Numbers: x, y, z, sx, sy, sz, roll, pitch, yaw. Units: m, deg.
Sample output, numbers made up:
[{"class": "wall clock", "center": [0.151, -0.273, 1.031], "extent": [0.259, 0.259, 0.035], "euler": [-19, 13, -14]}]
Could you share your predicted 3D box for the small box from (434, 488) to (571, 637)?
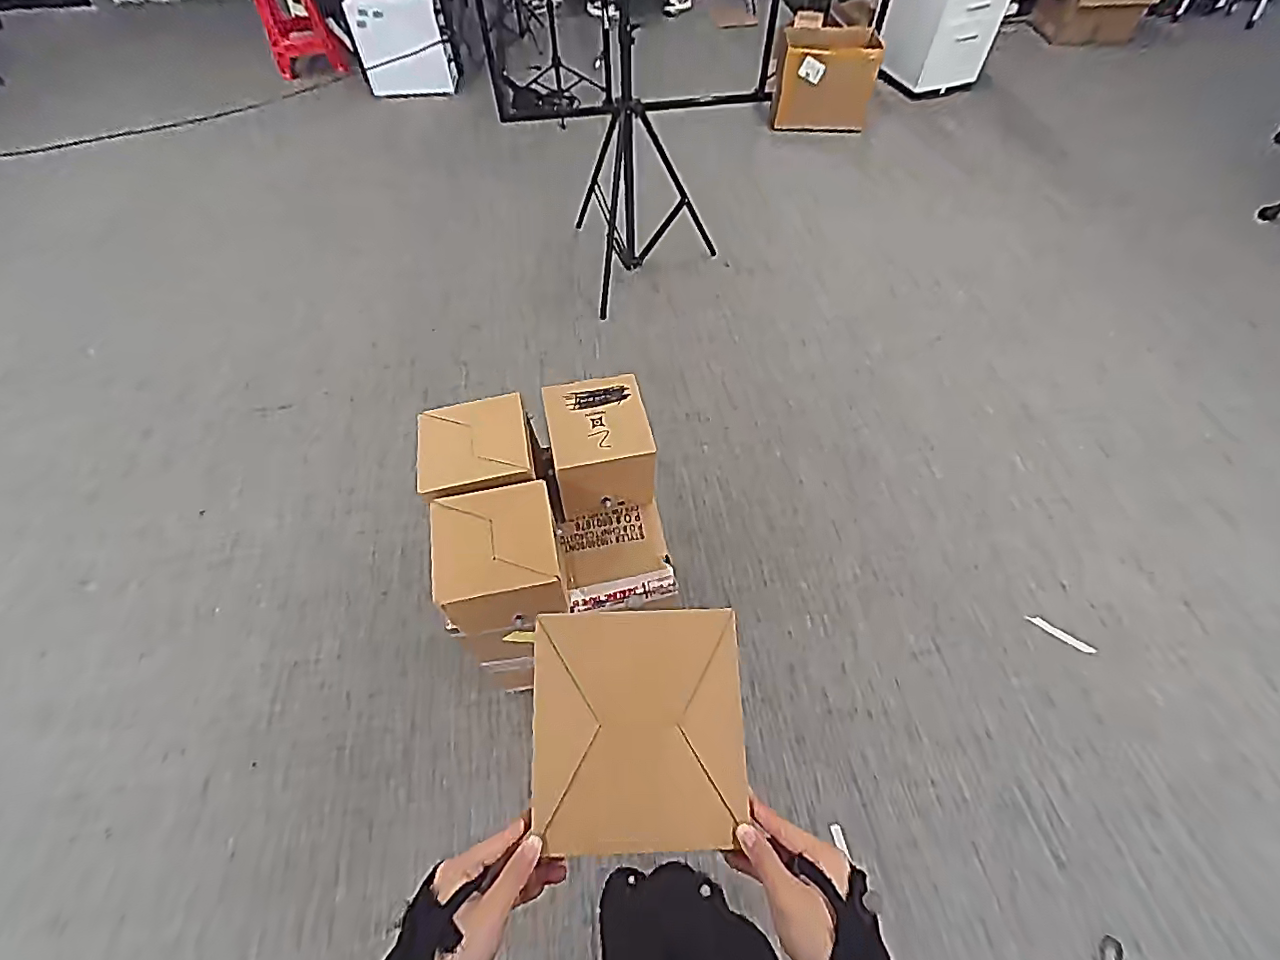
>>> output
[{"class": "small box", "center": [-0.215, 0.130, 0.855], "extent": [0.179, 0.176, 0.168], "euler": [-11, 60, -6]}]

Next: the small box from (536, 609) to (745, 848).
[{"class": "small box", "center": [-0.003, 0.217, 0.506], "extent": [0.168, 0.176, 0.179], "euler": [-1, 75, -2]}]
